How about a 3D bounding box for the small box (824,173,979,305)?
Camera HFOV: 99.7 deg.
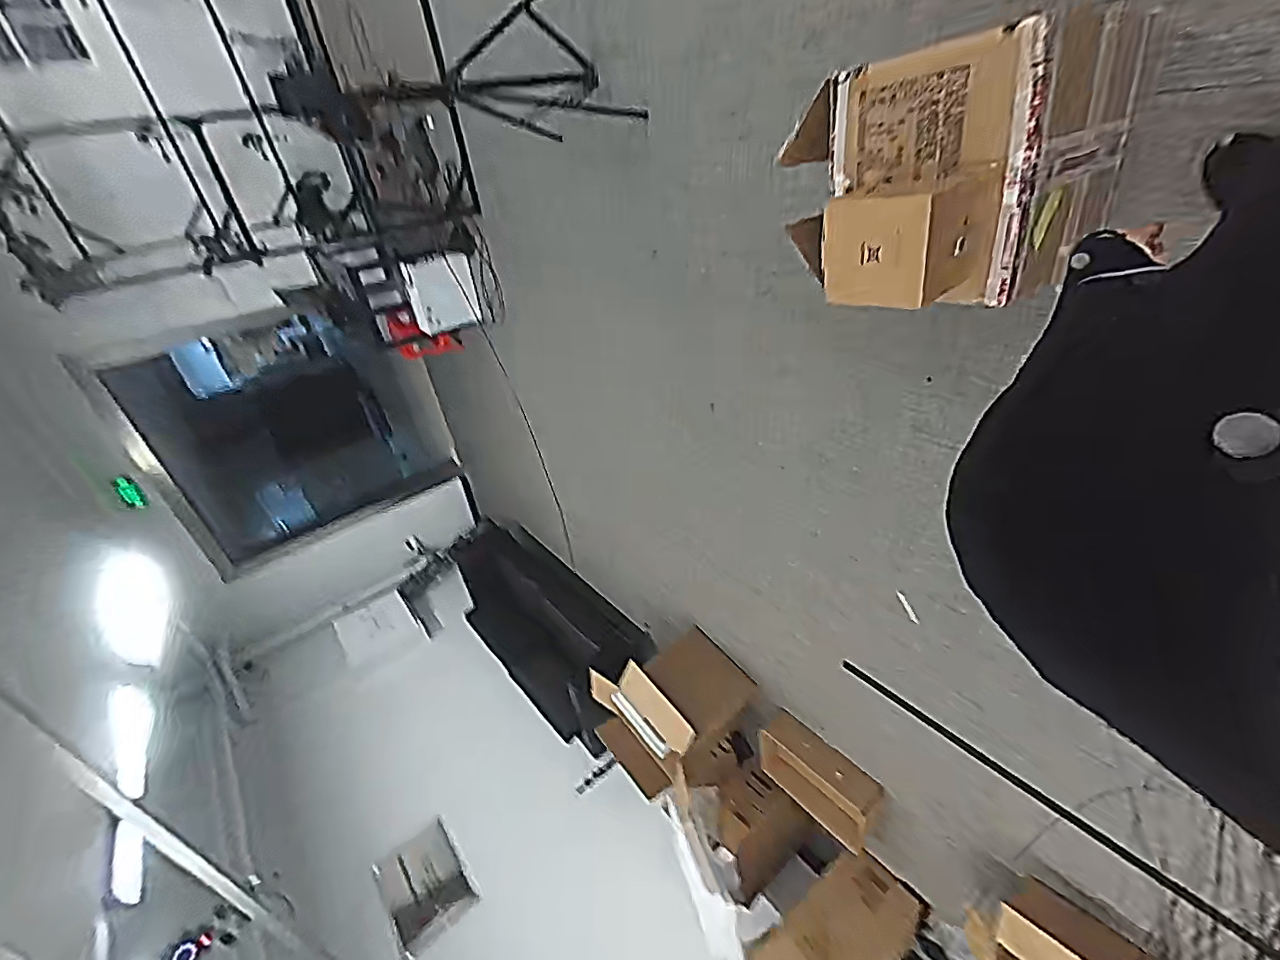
[{"bbox_3d":[0.432,-0.403,0.908,0.179,0.176,0.168,22,134,44],"label":"small box"}]
